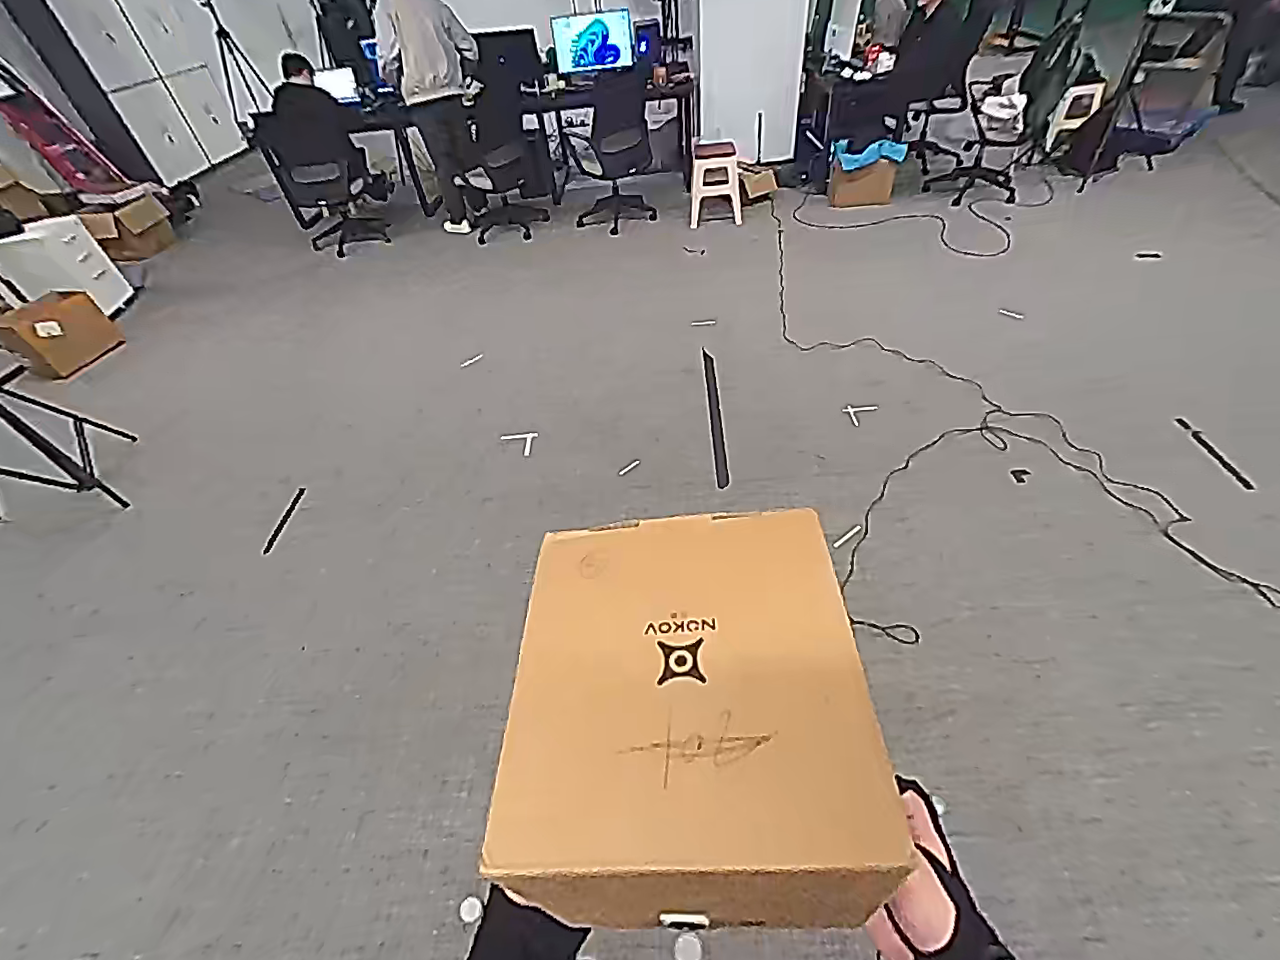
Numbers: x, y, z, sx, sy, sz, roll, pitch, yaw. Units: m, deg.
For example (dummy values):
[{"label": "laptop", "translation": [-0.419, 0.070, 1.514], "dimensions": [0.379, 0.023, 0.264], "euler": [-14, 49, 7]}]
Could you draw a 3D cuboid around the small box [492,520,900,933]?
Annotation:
[{"label": "small box", "translation": [0.033, 0.150, 0.327], "dimensions": [0.168, 0.176, 0.179], "euler": [-7, 44, 7]}]
